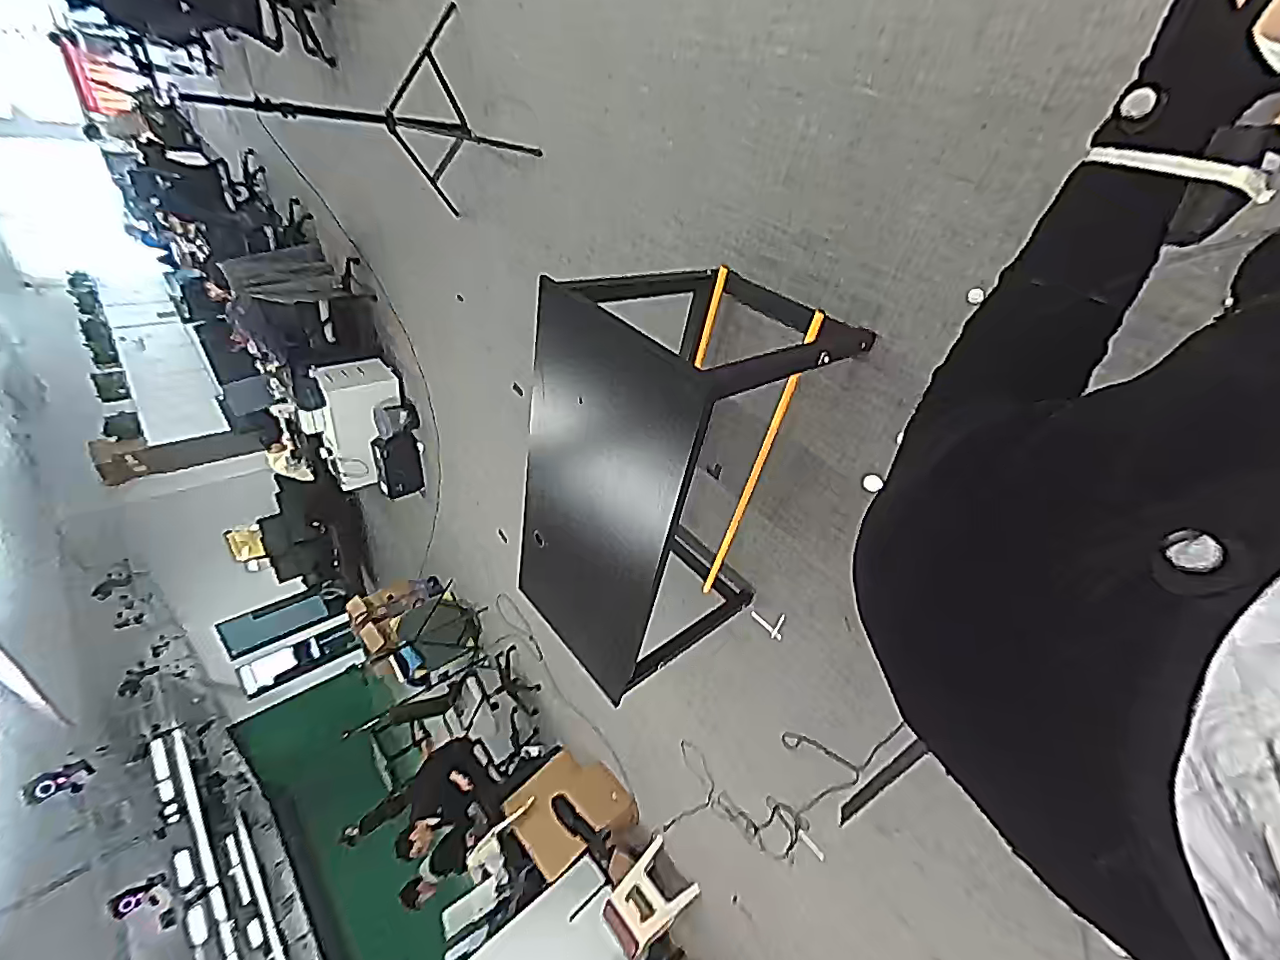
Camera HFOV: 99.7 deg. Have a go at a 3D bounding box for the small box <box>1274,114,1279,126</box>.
[{"bbox_3d":[1.080,-0.575,0.768,0.179,0.176,0.168,38,134,33],"label":"small box"}]
